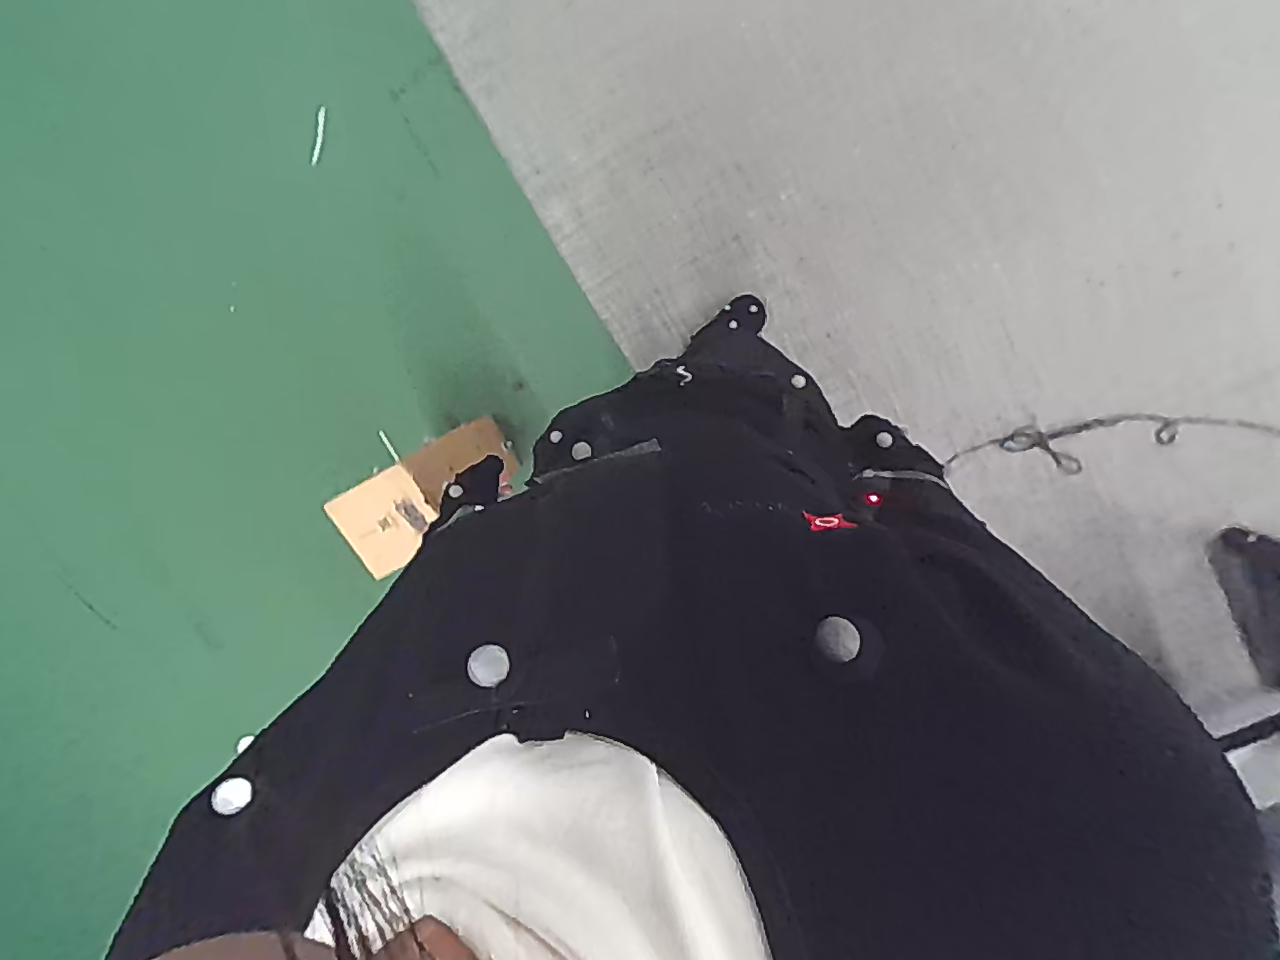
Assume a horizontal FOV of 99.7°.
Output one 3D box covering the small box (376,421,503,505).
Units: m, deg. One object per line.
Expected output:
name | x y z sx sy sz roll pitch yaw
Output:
small box | -0.434 -0.013 1.200 0.179 0.176 0.168 -27 105 10

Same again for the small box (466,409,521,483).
small box | -0.424 -0.059 1.356 0.179 0.176 0.168 -28 105 8

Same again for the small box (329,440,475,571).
small box | -0.441 0.041 1.044 0.179 0.176 0.168 -27 104 10
